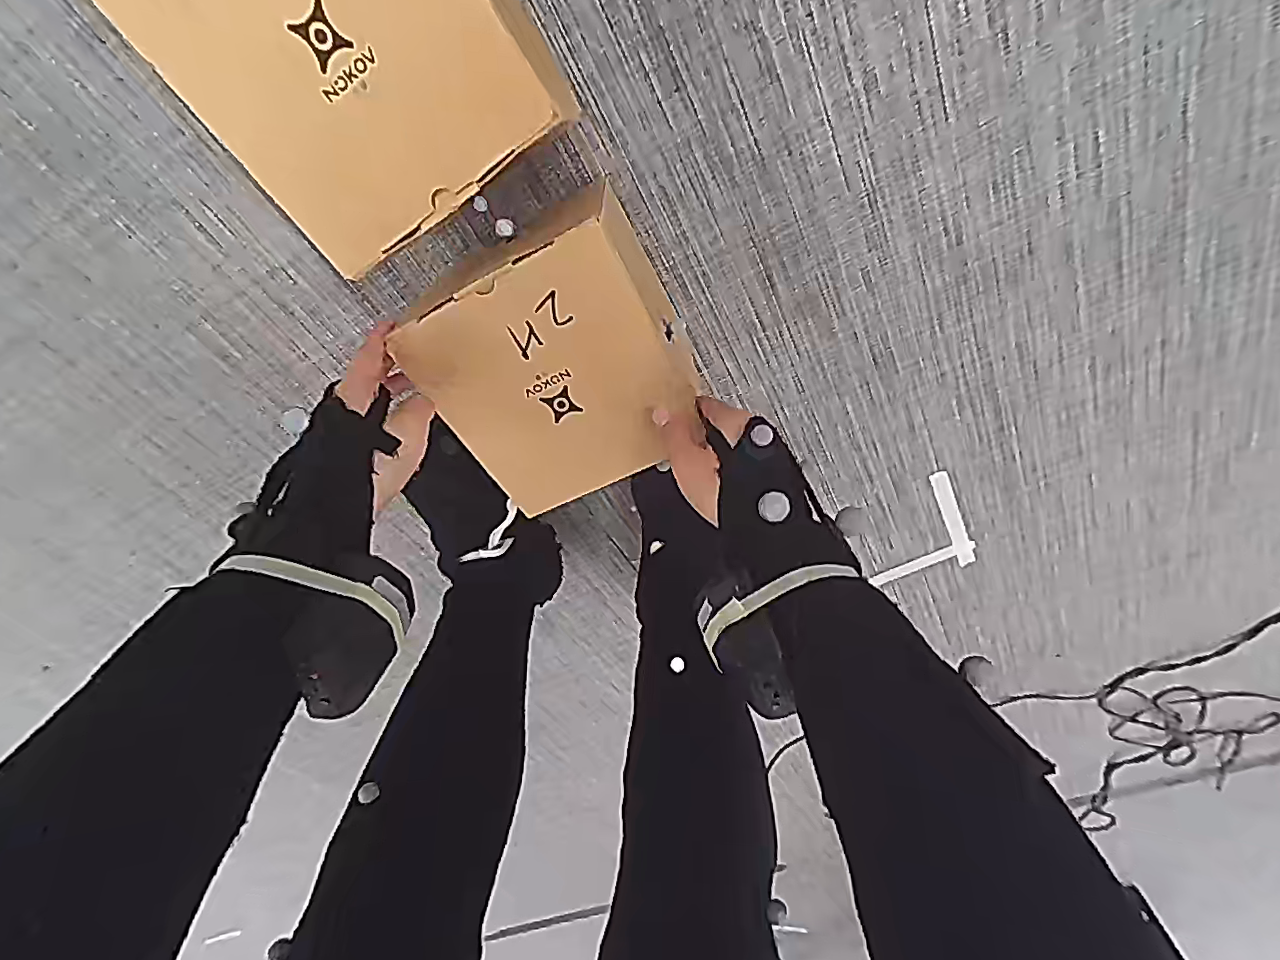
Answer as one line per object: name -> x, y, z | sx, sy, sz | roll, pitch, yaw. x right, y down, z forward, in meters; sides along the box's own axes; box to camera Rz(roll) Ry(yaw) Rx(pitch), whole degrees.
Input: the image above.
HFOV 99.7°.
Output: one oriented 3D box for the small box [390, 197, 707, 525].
small box -> -0.058, -0.100, 0.445 | 0.168, 0.176, 0.179 | -23, 124, 13
